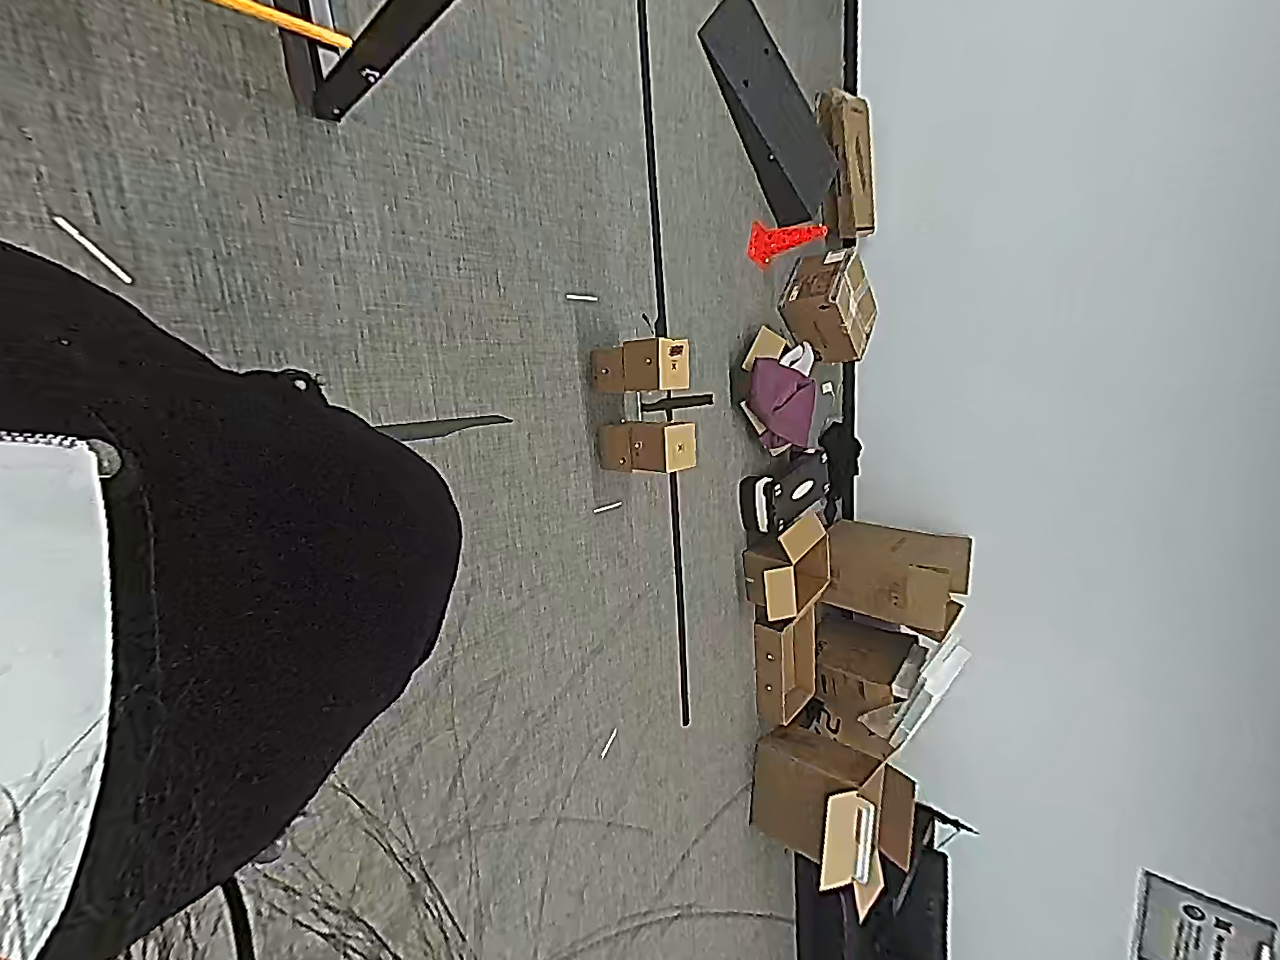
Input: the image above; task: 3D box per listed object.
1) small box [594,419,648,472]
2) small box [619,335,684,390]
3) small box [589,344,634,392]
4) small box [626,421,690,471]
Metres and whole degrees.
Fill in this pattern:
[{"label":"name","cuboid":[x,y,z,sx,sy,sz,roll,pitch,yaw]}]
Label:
[{"label":"small box","cuboid":[-0.061,-0.139,2.101,0.168,0.176,0.179,-17,108,-46]},{"label":"small box","cuboid":[0.039,-0.413,1.925,0.168,0.176,0.179,-12,104,-47]},{"label":"small box","cuboid":[-0.082,-0.419,2.040,0.179,0.176,0.168,-13,104,-46]},{"label":"small box","cuboid":[0.067,-0.131,2.000,0.179,0.176,0.168,-14,105,-45]}]
